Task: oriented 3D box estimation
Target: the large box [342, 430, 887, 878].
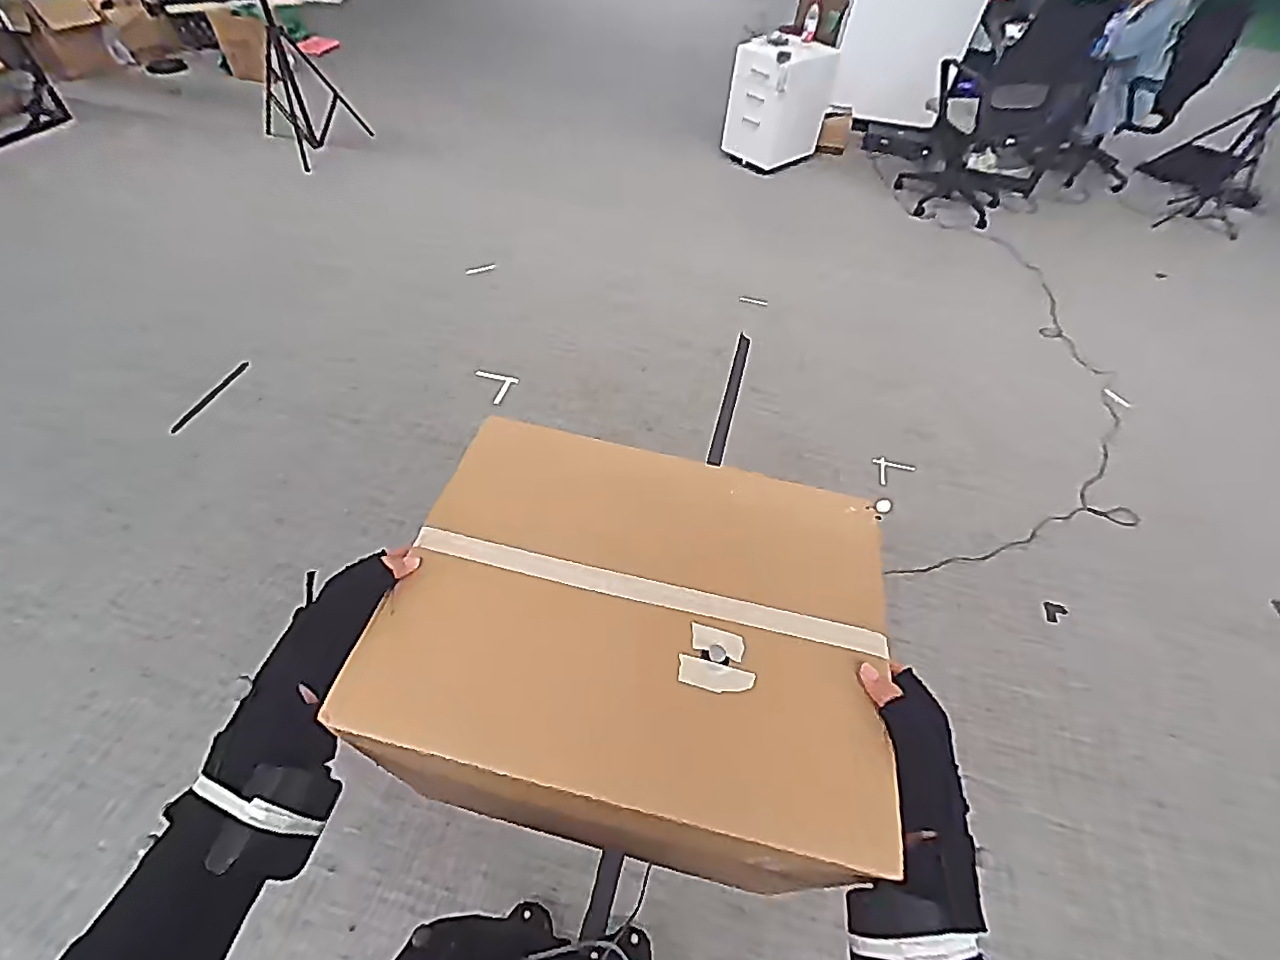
[{"bbox_3d":[-0.009,0.192,0.585,0.408,0.320,0.320,13,52,4],"label":"large box"}]
